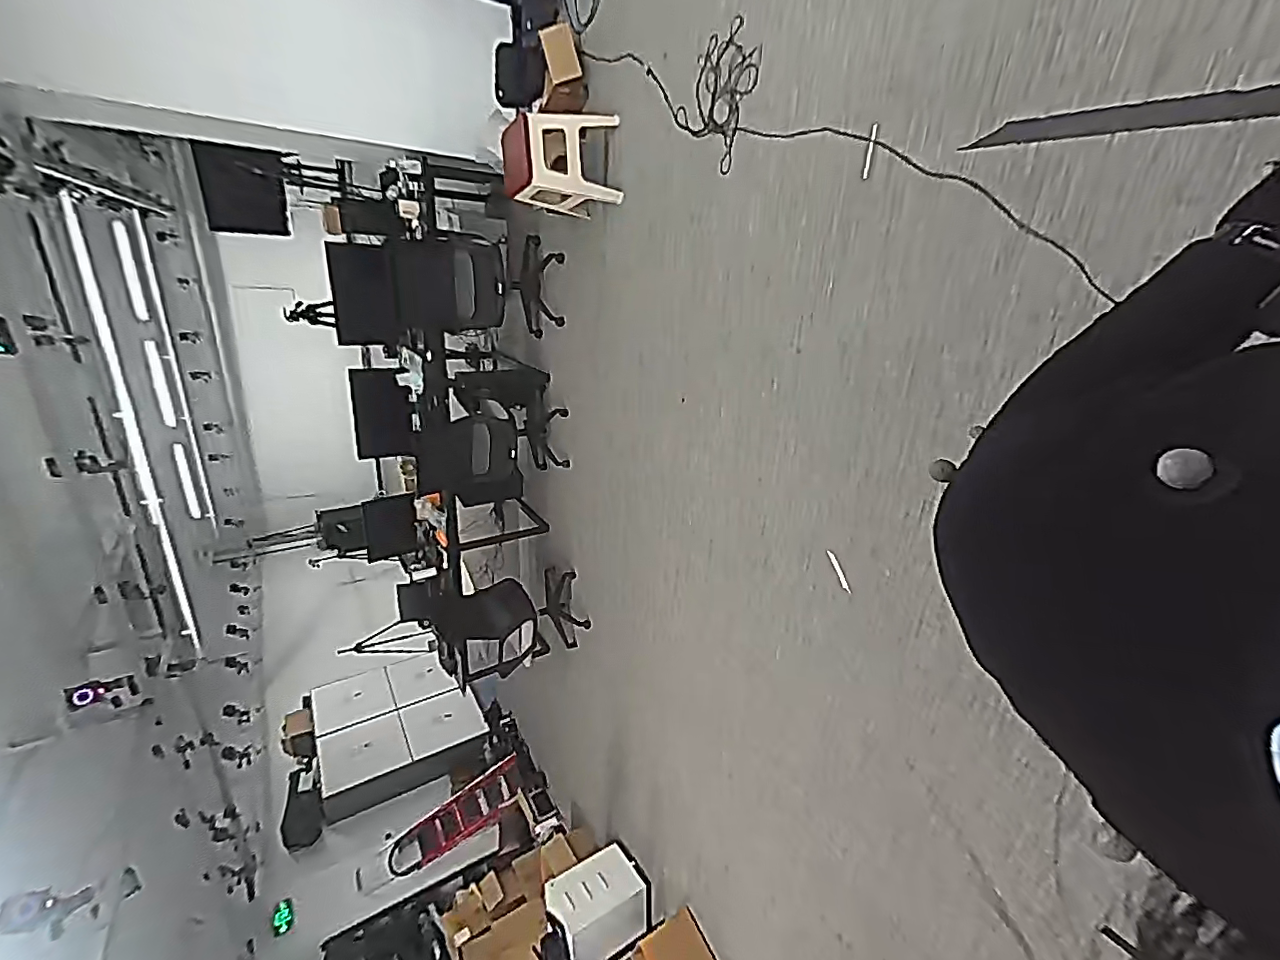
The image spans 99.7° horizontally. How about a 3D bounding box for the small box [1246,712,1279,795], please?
[{"bbox_3d":[1.237,0.482,0.950,0.168,0.176,0.179,30,123,51],"label":"small box"}]
